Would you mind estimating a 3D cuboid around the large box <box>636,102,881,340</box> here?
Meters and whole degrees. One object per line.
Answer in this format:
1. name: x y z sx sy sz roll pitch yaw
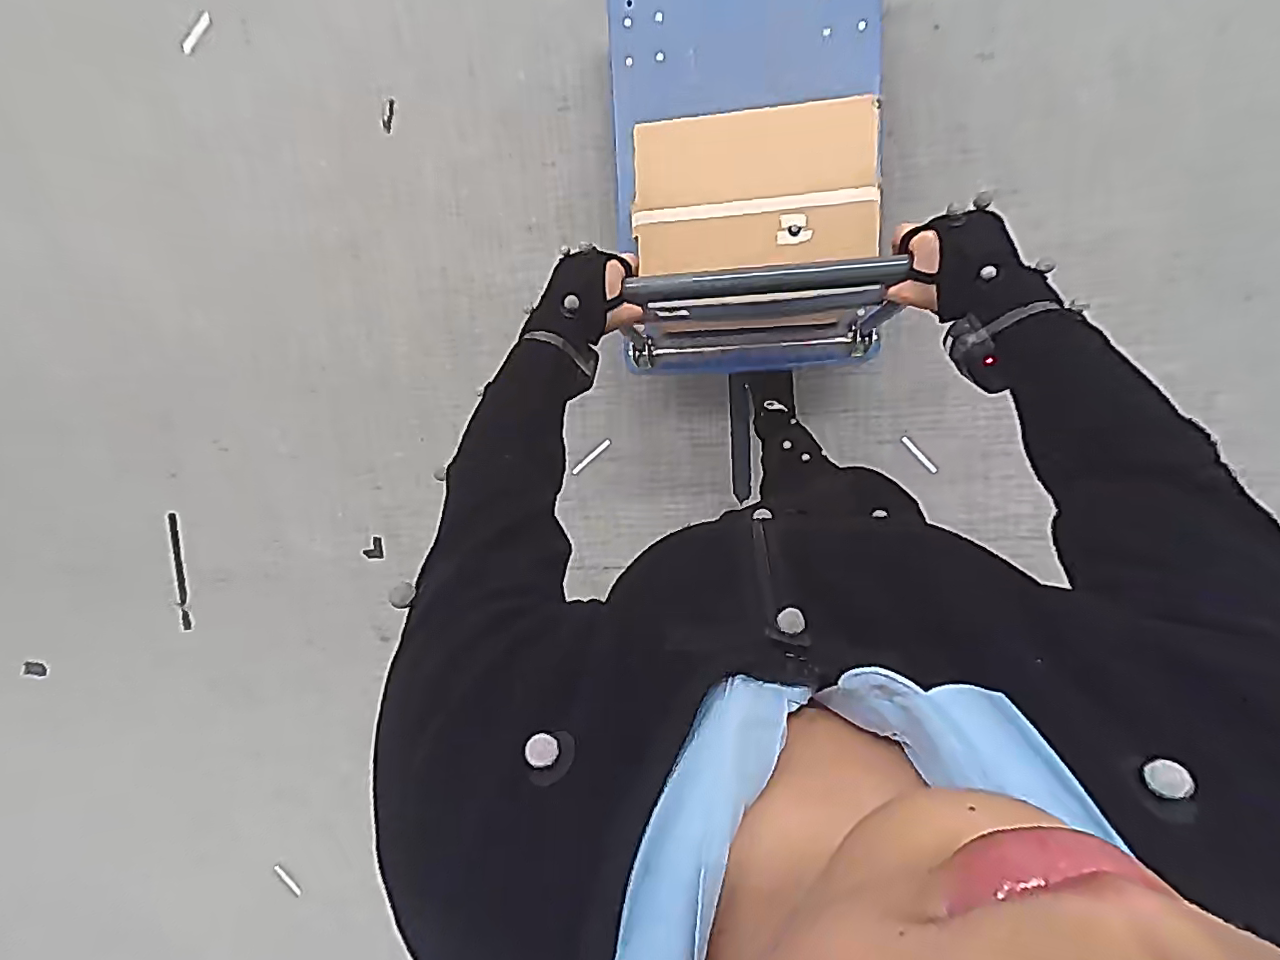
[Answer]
1. large box: 0.216 -0.466 1.059 0.408 0.320 0.320 -2 97 8
